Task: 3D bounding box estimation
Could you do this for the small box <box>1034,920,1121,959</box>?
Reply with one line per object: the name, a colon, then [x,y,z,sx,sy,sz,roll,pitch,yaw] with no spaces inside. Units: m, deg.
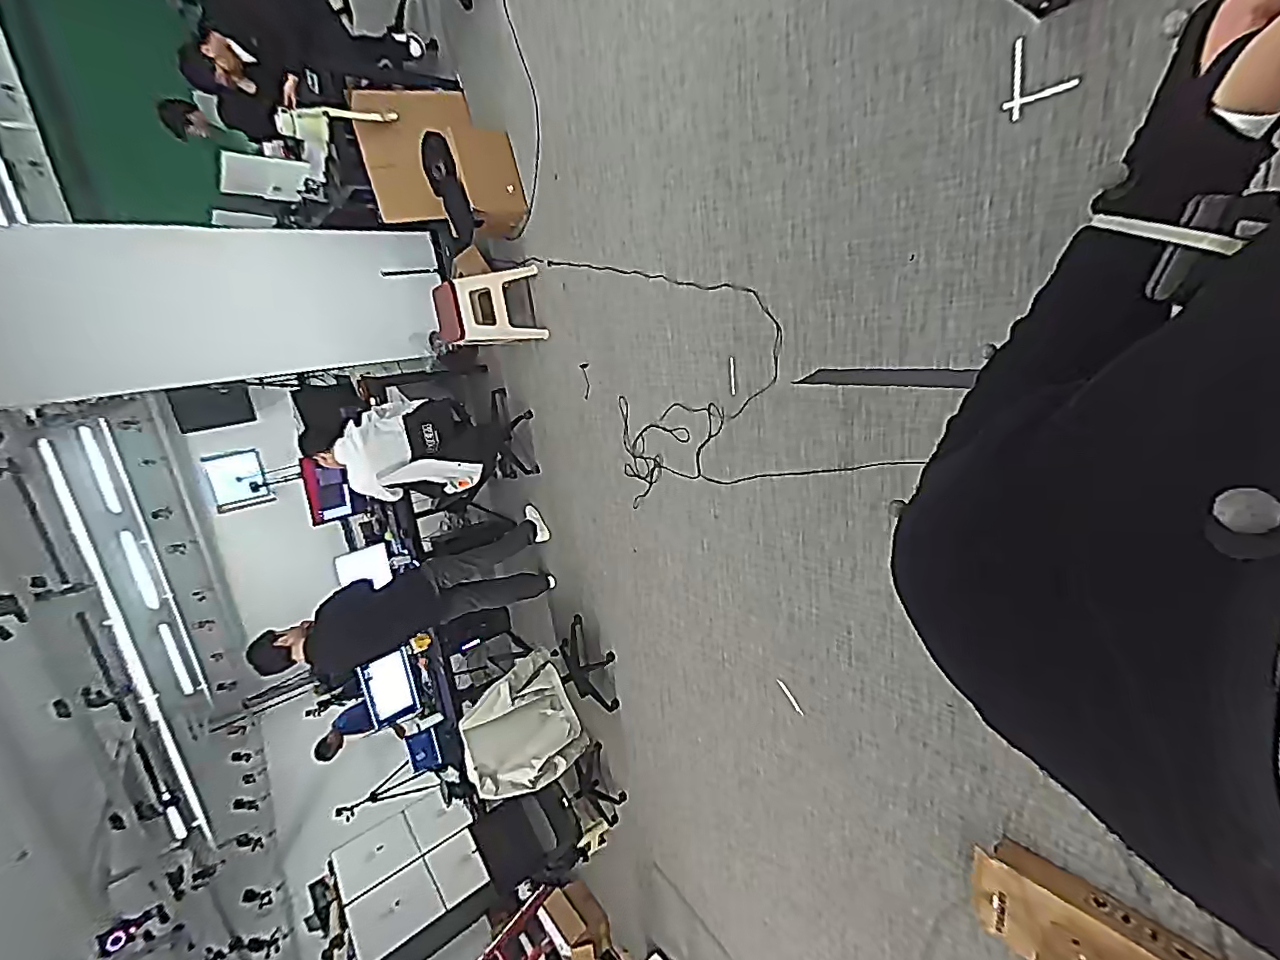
small box: [1.137,1.315,1.399,0.168,0.176,0.179,13,116,51]
